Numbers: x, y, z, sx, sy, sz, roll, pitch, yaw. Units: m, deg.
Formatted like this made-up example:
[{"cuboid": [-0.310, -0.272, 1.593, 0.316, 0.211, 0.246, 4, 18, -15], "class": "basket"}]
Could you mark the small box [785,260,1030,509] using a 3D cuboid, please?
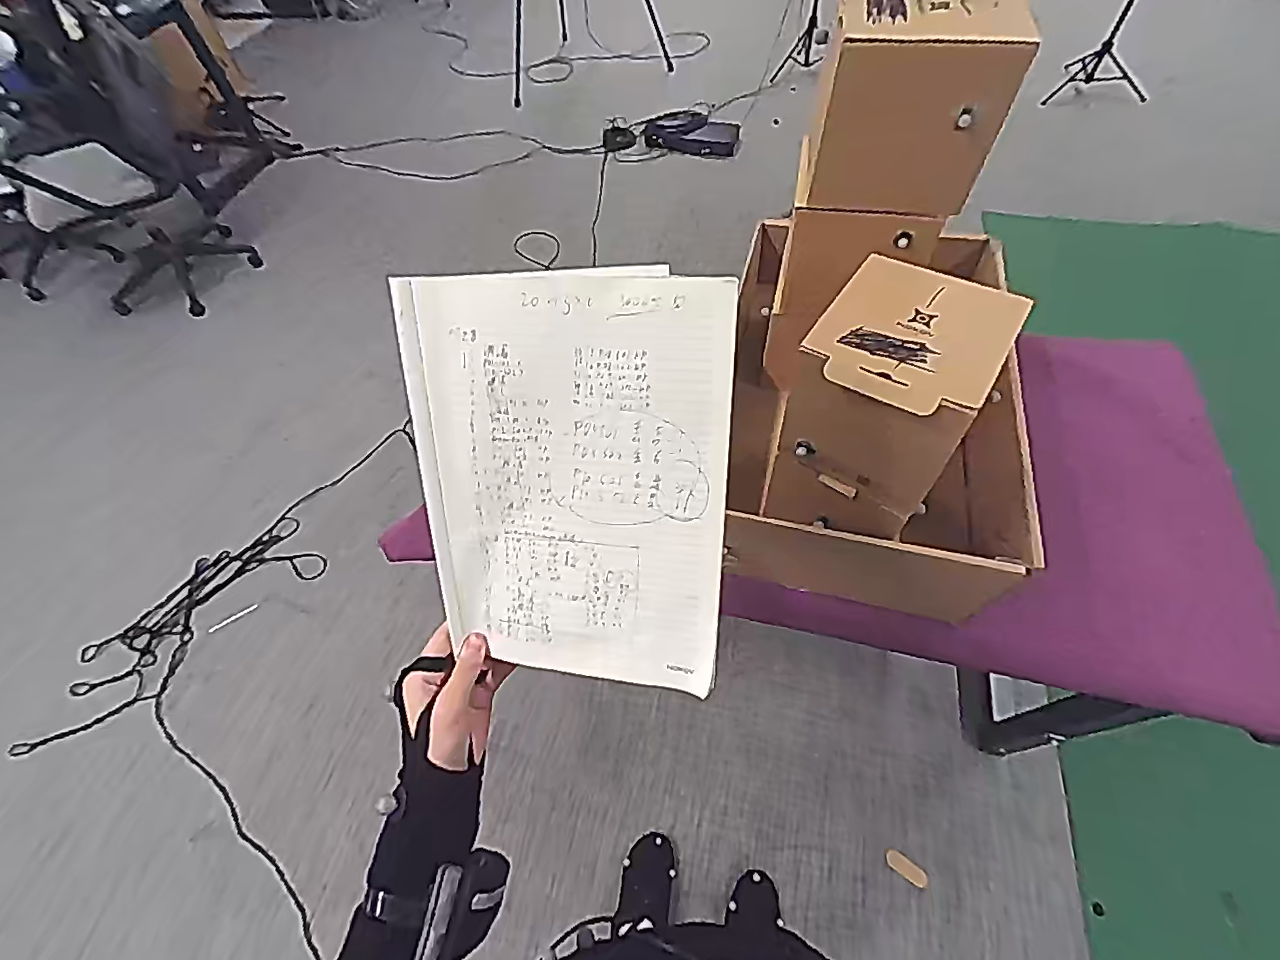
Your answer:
[{"cuboid": [0.272, -0.100, 0.587, 0.168, 0.176, 0.179, 29, 62, 23], "class": "small box"}]

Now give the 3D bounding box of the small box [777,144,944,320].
[{"cuboid": [0.291, -0.333, 0.746, 0.179, 0.176, 0.168, 9, 59, 10], "class": "small box"}]

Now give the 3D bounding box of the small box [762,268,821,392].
[{"cuboid": [0.299, -0.250, 0.885, 0.168, 0.176, 0.179, 11, 60, 12], "class": "small box"}]
